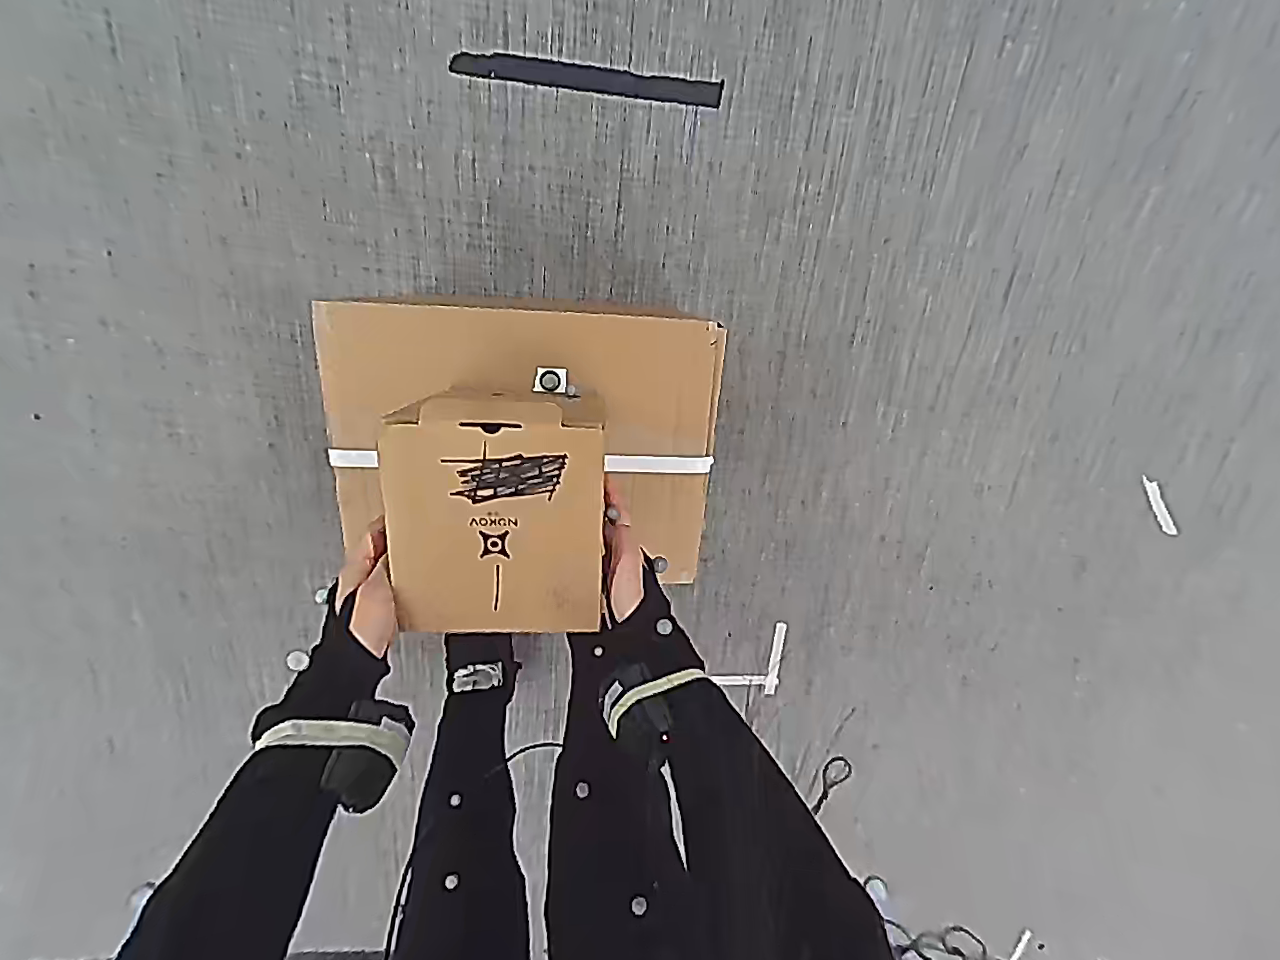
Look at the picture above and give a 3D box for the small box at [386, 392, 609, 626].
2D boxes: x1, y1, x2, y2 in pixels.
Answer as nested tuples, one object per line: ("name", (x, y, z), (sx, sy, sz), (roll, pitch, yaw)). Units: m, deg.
("small box", (-0.114, 0.015, 0.499), (0.168, 0.176, 0.179), (1, 107, -3))
